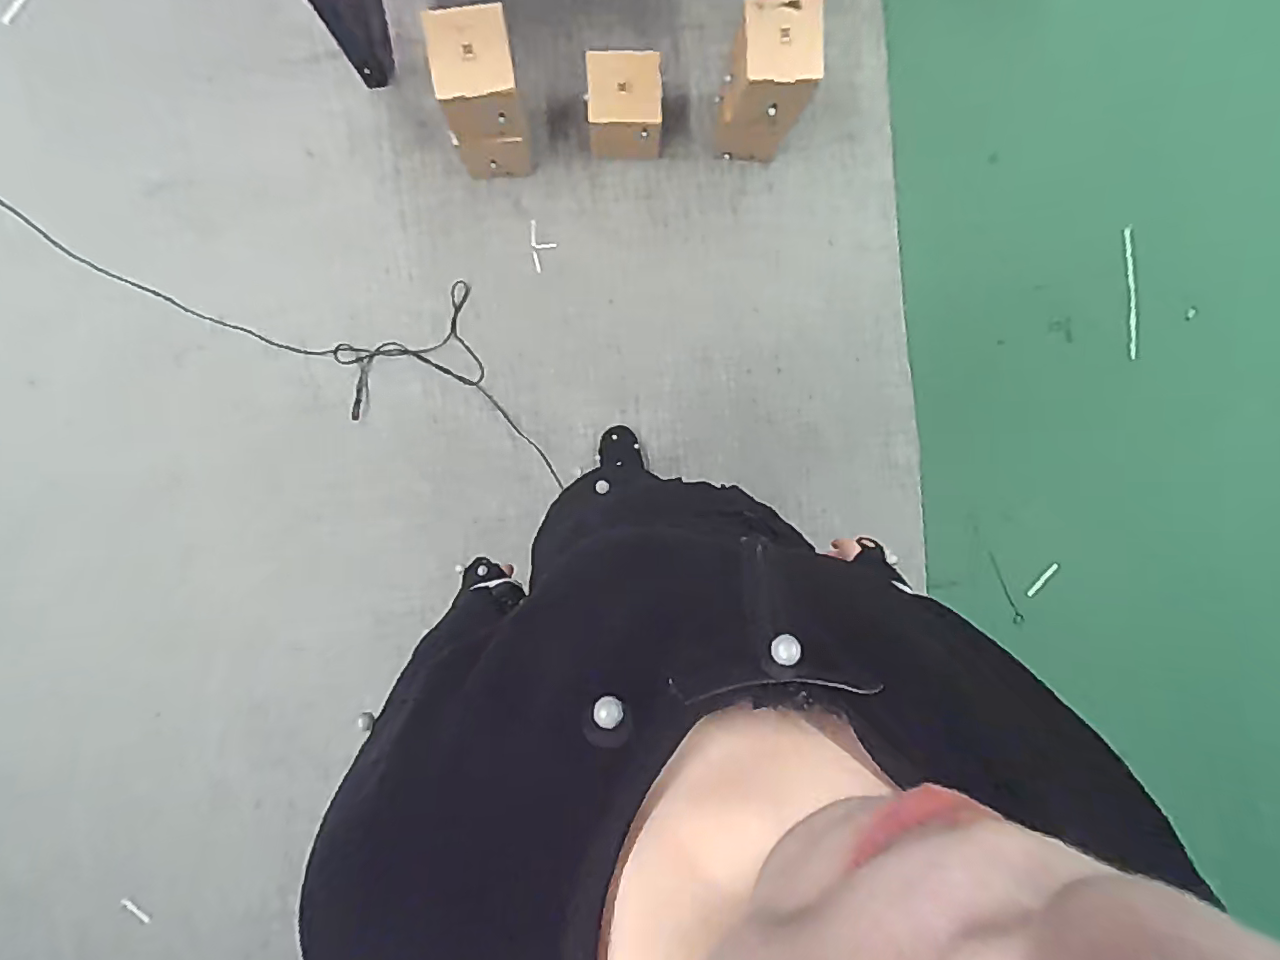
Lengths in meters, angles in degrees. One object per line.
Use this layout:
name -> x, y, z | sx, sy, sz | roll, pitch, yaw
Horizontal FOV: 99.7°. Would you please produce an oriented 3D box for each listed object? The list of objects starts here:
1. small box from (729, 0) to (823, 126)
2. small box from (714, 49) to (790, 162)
small box -> 0.297, -0.927, 1.212 | 0.168, 0.176, 0.179 | -1, 94, -2
small box -> 0.286, -0.943, 1.375 | 0.168, 0.176, 0.179 | 3, 92, -3
